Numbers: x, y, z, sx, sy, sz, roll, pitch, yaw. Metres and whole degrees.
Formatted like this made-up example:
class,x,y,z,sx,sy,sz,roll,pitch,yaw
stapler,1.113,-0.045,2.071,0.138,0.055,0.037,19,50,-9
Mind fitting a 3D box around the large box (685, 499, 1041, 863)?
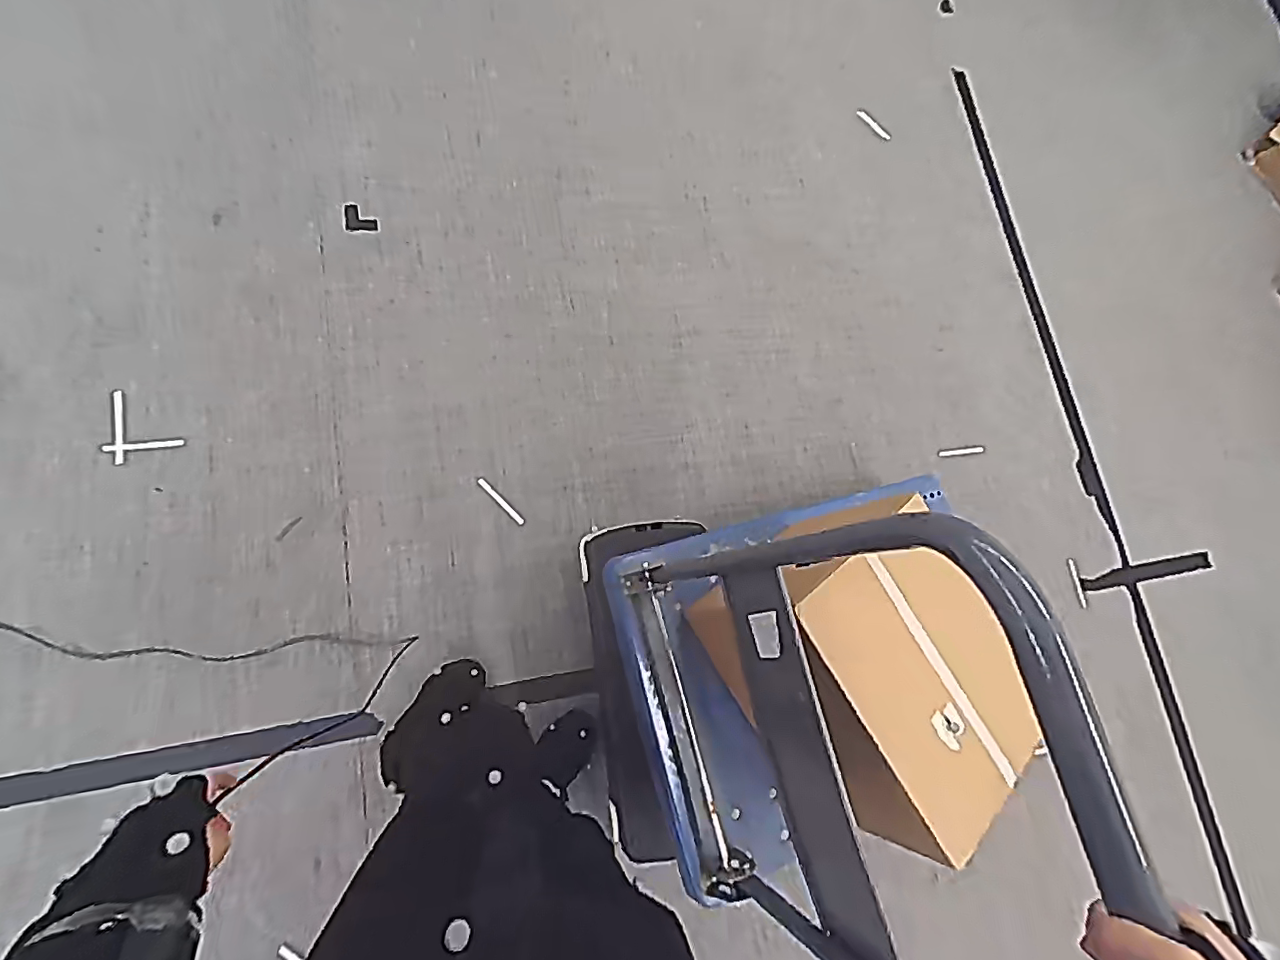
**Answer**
class,x,y,z,sx,sy,sz,roll,pitch,yaw
large box,0.349,0.299,0.901,0.320,0.320,0.408,-32,91,-27
